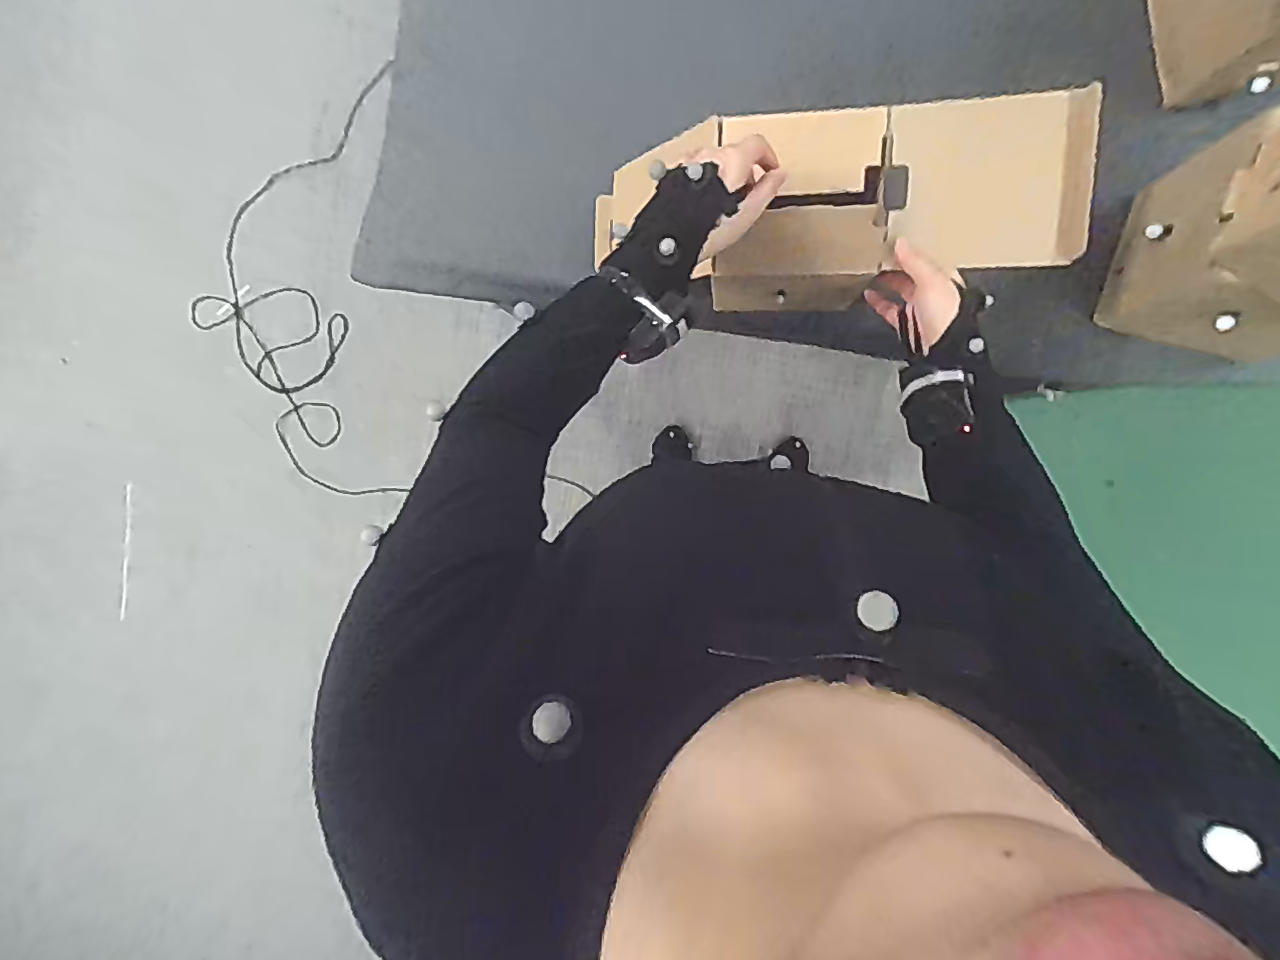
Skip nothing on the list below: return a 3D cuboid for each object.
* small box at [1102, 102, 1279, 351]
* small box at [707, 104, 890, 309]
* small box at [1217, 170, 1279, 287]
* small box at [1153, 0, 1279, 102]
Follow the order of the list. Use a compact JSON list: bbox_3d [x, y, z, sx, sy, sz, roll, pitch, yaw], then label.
[{"bbox_3d":[0.649,-0.247,0.568,0.179,0.176,0.168,17,94,7],"label":"small box"},{"bbox_3d":[0.175,-0.304,0.636,0.179,0.176,0.168,3,95,11],"label":"small box"},{"bbox_3d":[0.627,-0.225,0.407,0.179,0.176,0.168,38,96,4],"label":"small box"},{"bbox_3d":[0.671,-0.535,0.544,0.168,0.176,0.179,-10,95,11],"label":"small box"}]
